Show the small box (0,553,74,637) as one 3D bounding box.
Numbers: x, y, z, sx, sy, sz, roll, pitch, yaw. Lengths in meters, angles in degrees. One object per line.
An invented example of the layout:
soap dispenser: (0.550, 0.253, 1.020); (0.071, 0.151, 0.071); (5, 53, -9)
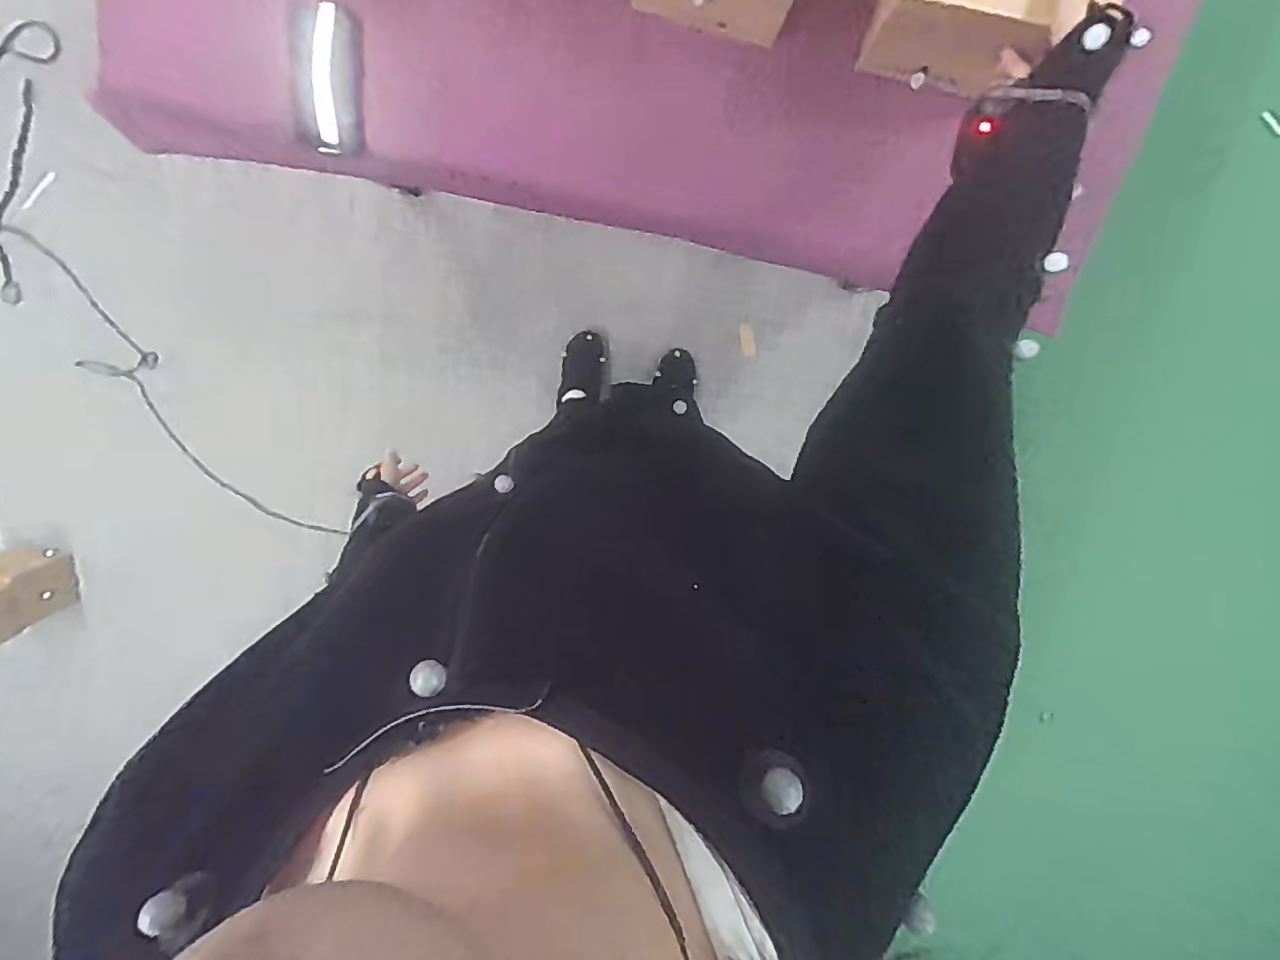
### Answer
small box: (-1.859, 0.337, 1.609); (0.168, 0.176, 0.179); (10, 108, -1)

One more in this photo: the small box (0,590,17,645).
small box: (-1.864, 0.392, 1.455); (0.179, 0.176, 0.168); (11, 108, -1)

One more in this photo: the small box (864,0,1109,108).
small box: (0.336, -0.496, 0.510); (0.168, 0.176, 0.179); (17, 108, 3)

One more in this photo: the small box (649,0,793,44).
small box: (0.091, -0.558, 0.505); (0.168, 0.176, 0.179); (14, 107, -3)
